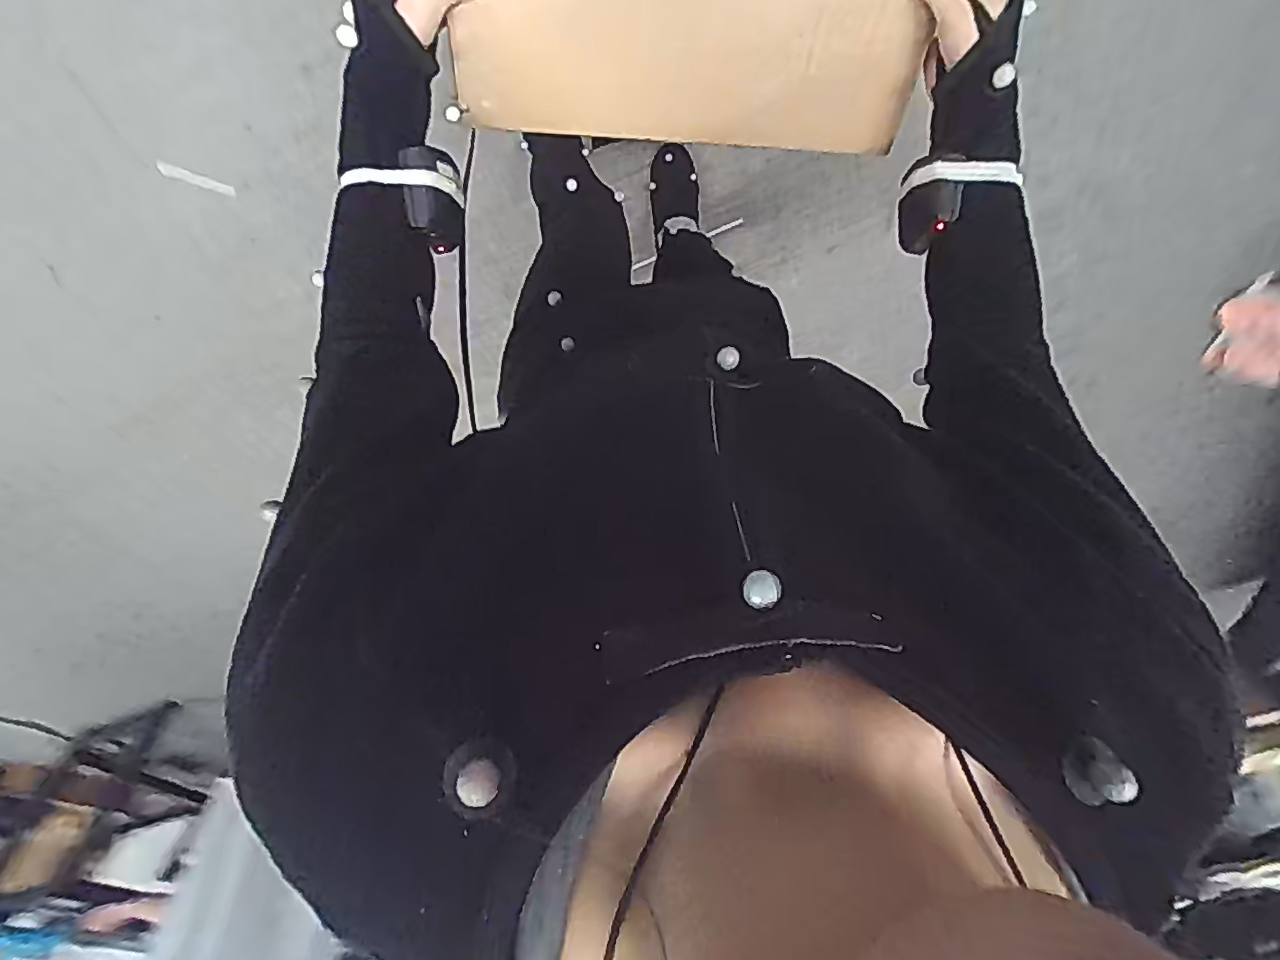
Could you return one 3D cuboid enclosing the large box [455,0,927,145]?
[{"bbox_3d":[0.042,-0.542,0.516,0.408,0.320,0.320,0,134,-5],"label":"large box"}]
